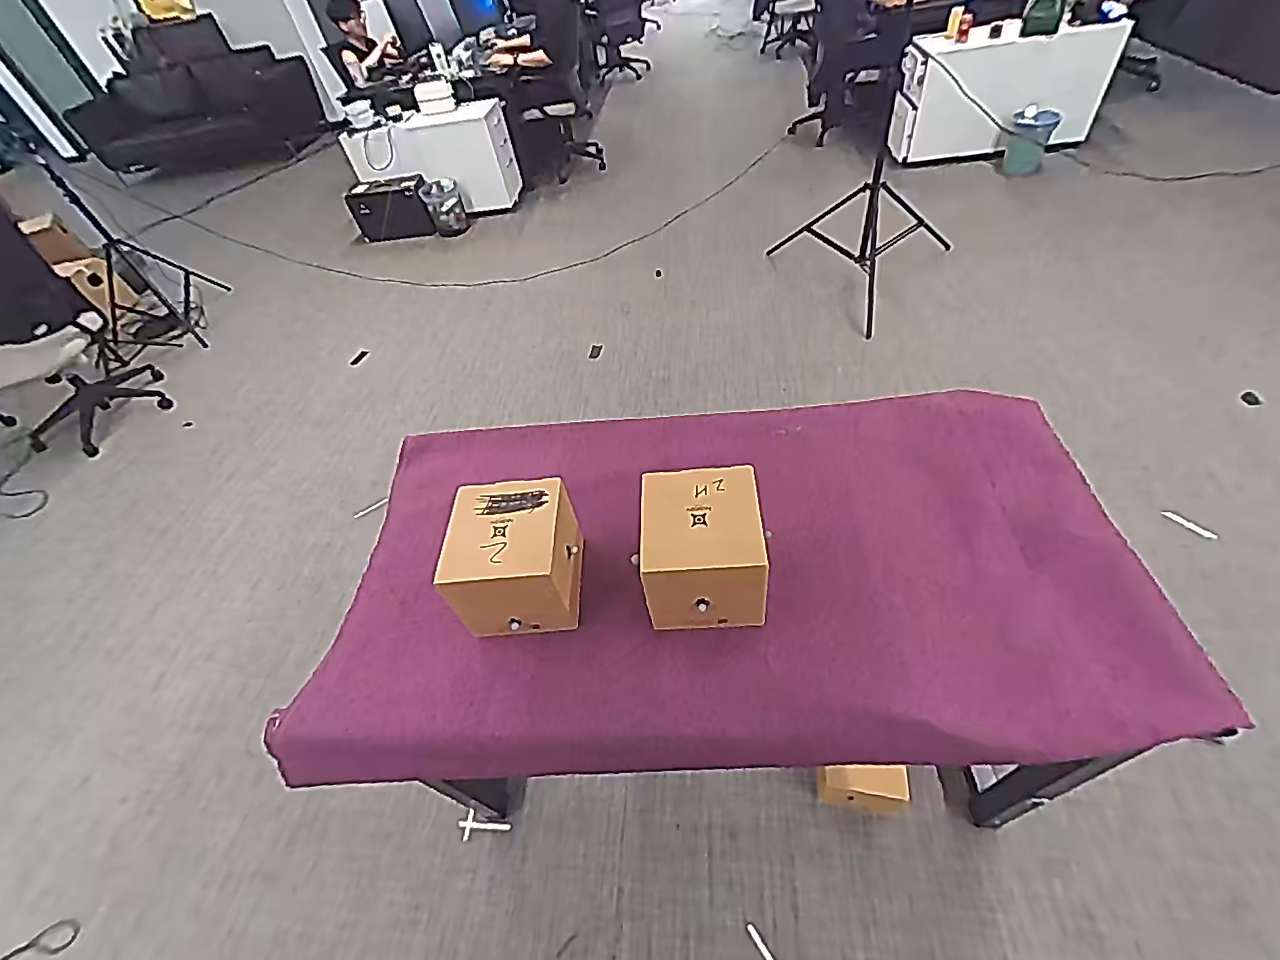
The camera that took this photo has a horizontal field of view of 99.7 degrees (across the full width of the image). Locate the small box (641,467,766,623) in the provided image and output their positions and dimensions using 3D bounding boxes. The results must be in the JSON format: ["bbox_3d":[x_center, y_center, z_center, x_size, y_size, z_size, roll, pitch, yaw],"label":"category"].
[{"bbox_3d":[0.096,0.103,0.809,0.168,0.176,0.179,-4,48,6],"label":"small box"}]

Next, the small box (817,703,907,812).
[{"bbox_3d":[0.503,0.641,1.243,0.168,0.176,0.179,4,49,14],"label":"small box"}]
